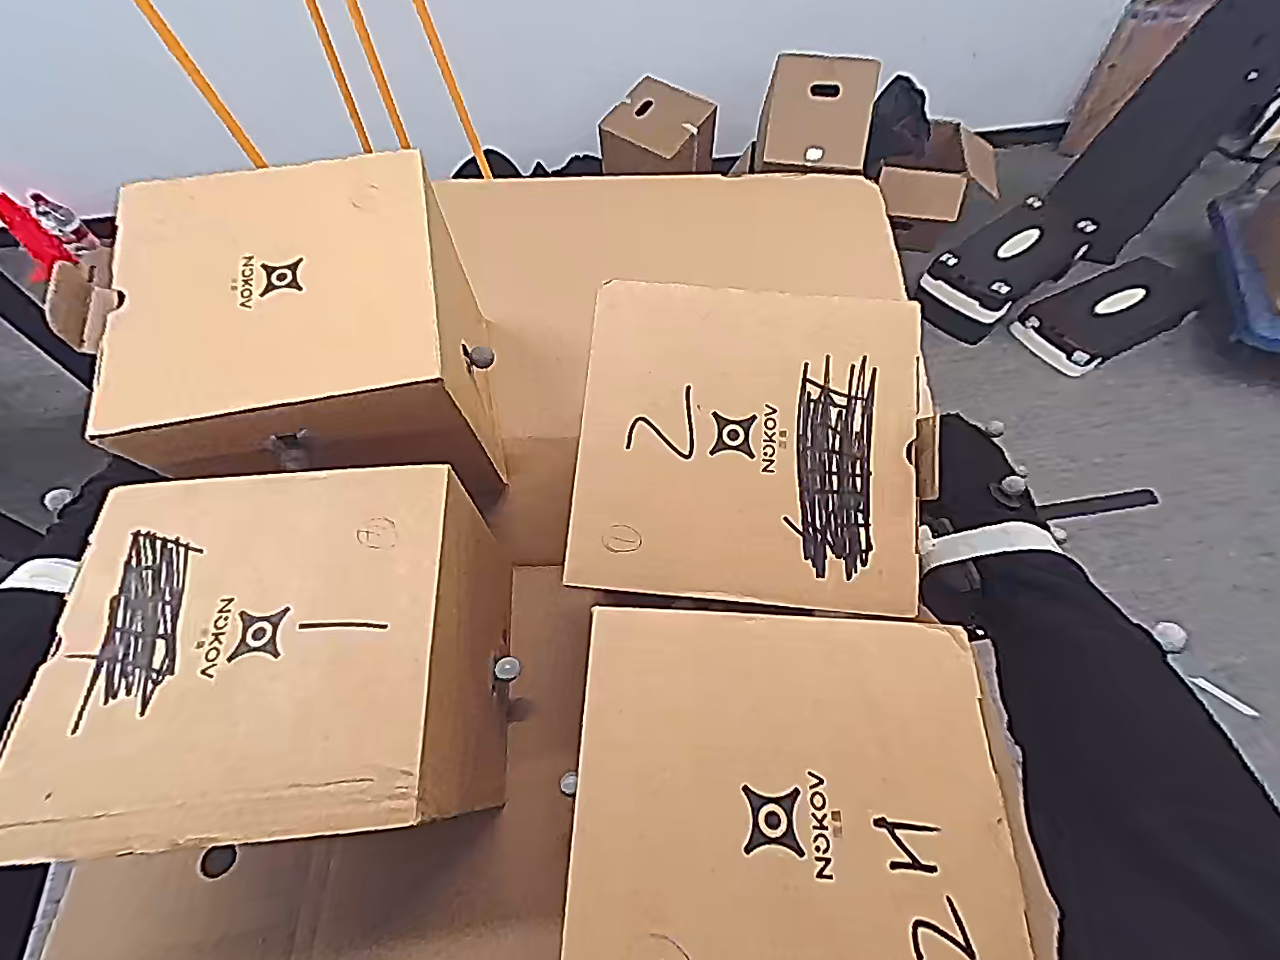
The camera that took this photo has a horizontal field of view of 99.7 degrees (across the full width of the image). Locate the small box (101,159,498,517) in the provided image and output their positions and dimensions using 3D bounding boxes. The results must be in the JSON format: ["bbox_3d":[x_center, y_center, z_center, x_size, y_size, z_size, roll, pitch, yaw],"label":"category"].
[{"bbox_3d":[-0.206,-0.084,0.383,0.179,0.176,0.168,-11,70,-4],"label":"small box"}]
